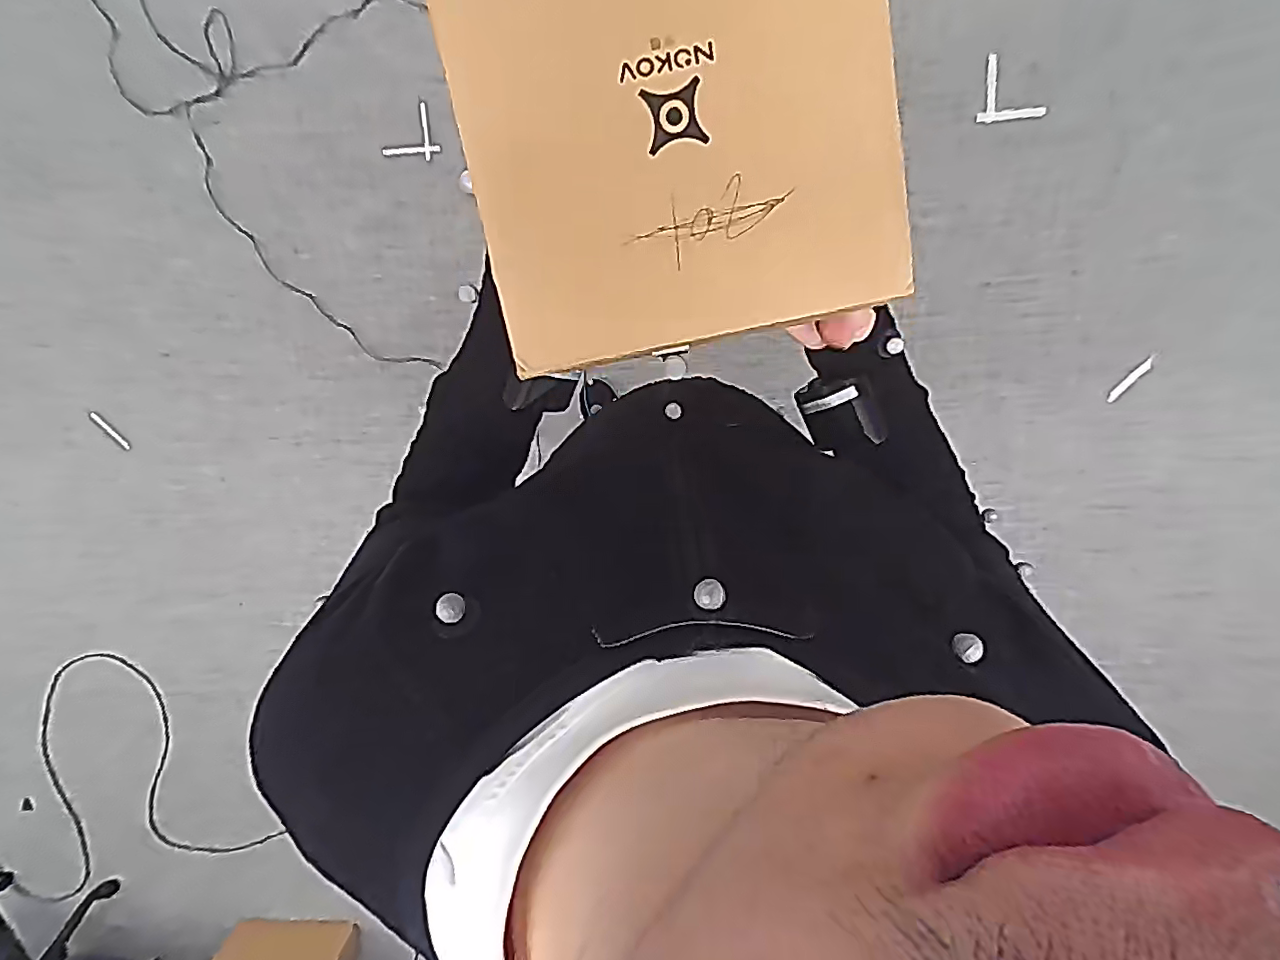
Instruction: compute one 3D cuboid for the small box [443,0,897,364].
[{"bbox_3d":[0.015,-0.164,0.295,0.168,0.176,0.179,-11,102,4],"label":"small box"}]
